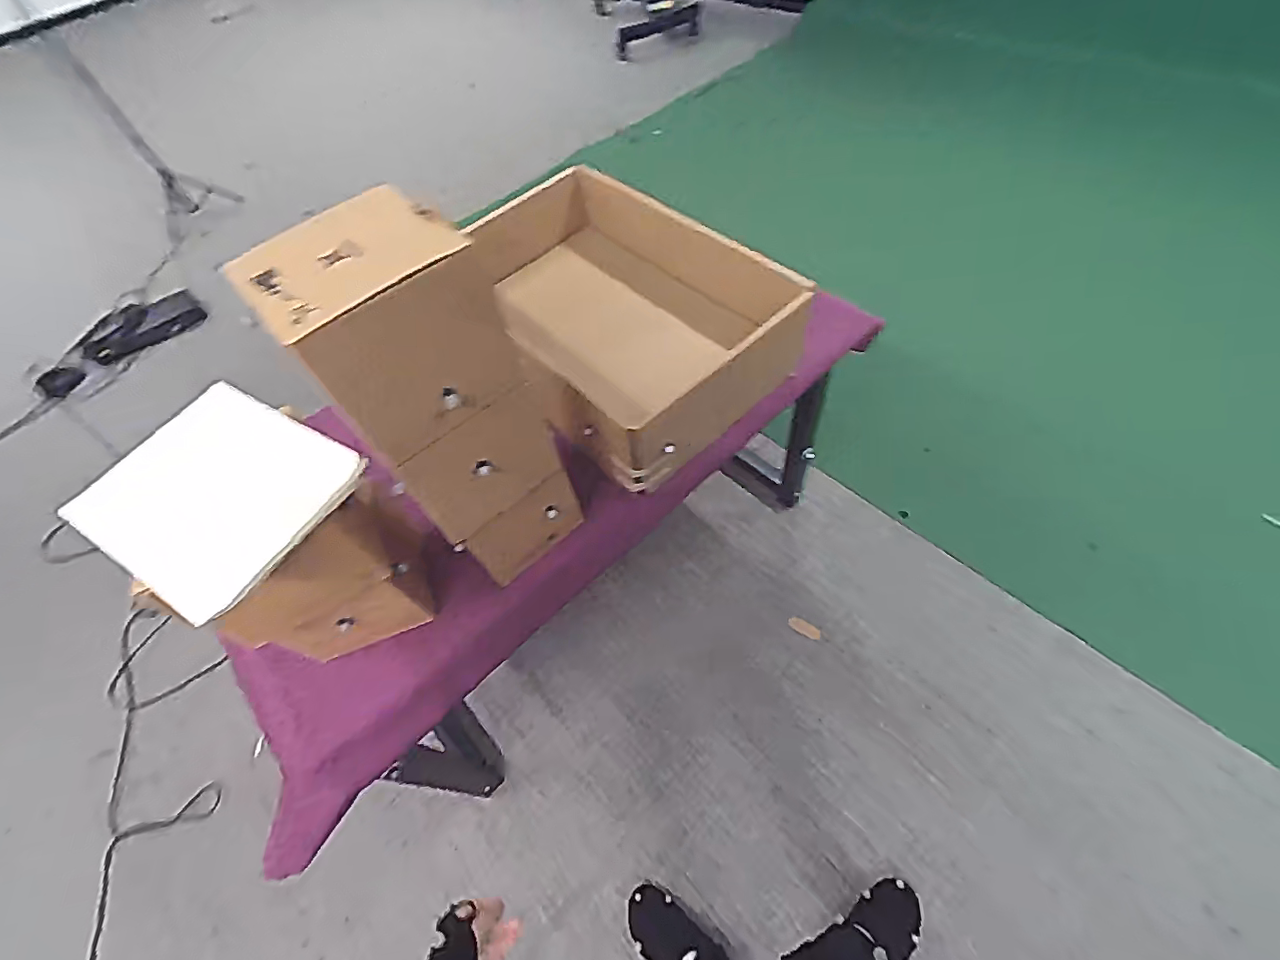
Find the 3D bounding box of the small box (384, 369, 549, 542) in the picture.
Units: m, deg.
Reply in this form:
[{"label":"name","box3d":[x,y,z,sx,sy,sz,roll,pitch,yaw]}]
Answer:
[{"label":"small box","box3d":[-0.234,-0.057,0.681,0.179,0.176,0.168,-39,59,-18]}]

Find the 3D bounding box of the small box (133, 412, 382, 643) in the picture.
[{"label":"small box","box3d":[-0.429,0.060,0.631,0.179,0.176,0.168,-29,58,-11]}]

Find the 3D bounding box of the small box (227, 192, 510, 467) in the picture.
[{"label":"small box","box3d":[-0.252,-0.149,0.546,0.179,0.176,0.168,-39,59,-19]}]
